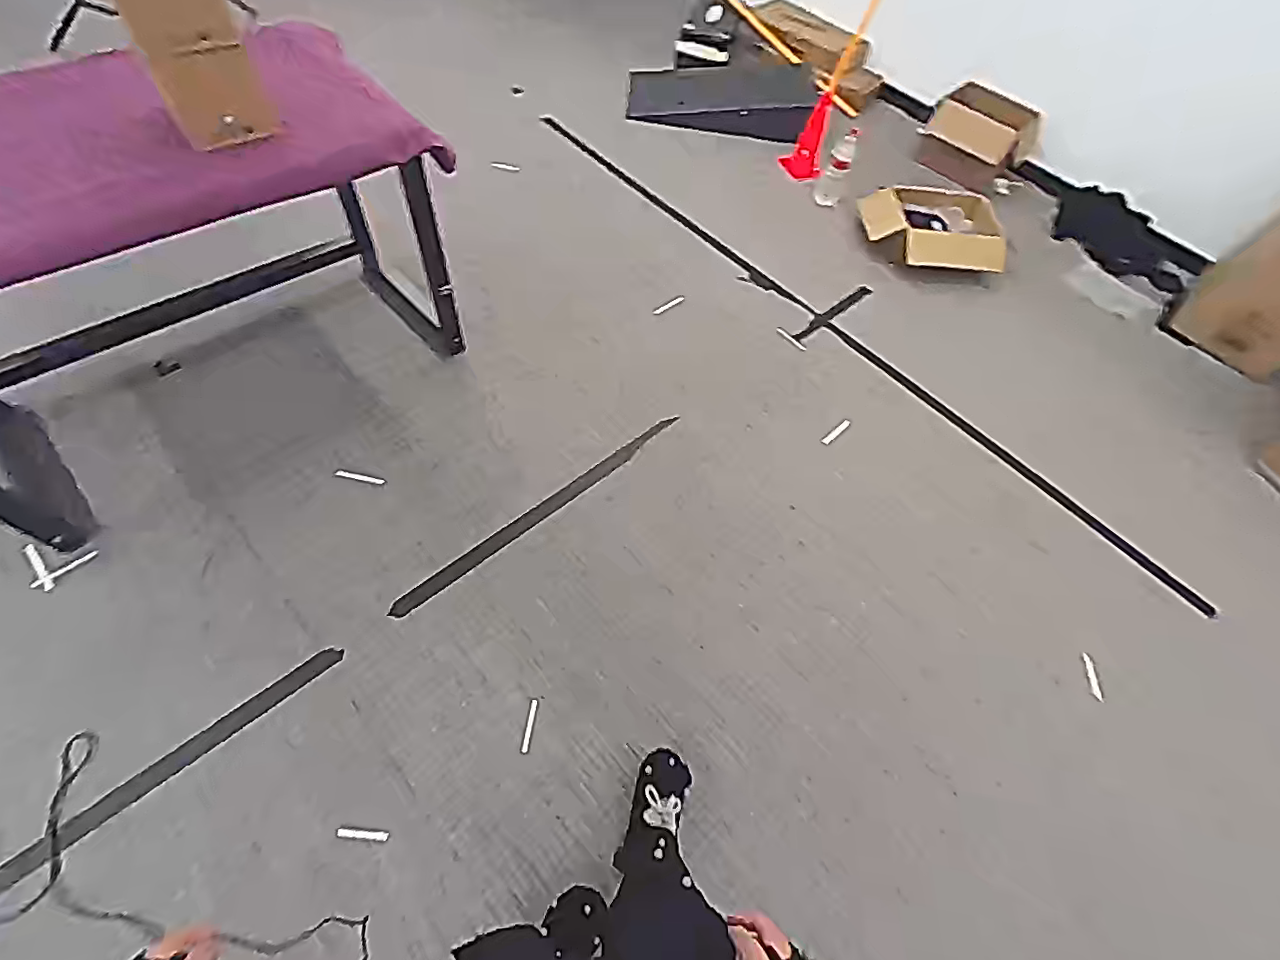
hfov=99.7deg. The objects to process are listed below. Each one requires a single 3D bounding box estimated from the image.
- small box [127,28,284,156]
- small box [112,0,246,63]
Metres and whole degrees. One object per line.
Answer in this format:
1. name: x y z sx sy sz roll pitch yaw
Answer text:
1. small box: -0.877 -0.803 1.105 0.168 0.176 0.179 -34 69 -24
2. small box: -0.854 -0.884 0.964 0.168 0.176 0.179 -32 67 -23
